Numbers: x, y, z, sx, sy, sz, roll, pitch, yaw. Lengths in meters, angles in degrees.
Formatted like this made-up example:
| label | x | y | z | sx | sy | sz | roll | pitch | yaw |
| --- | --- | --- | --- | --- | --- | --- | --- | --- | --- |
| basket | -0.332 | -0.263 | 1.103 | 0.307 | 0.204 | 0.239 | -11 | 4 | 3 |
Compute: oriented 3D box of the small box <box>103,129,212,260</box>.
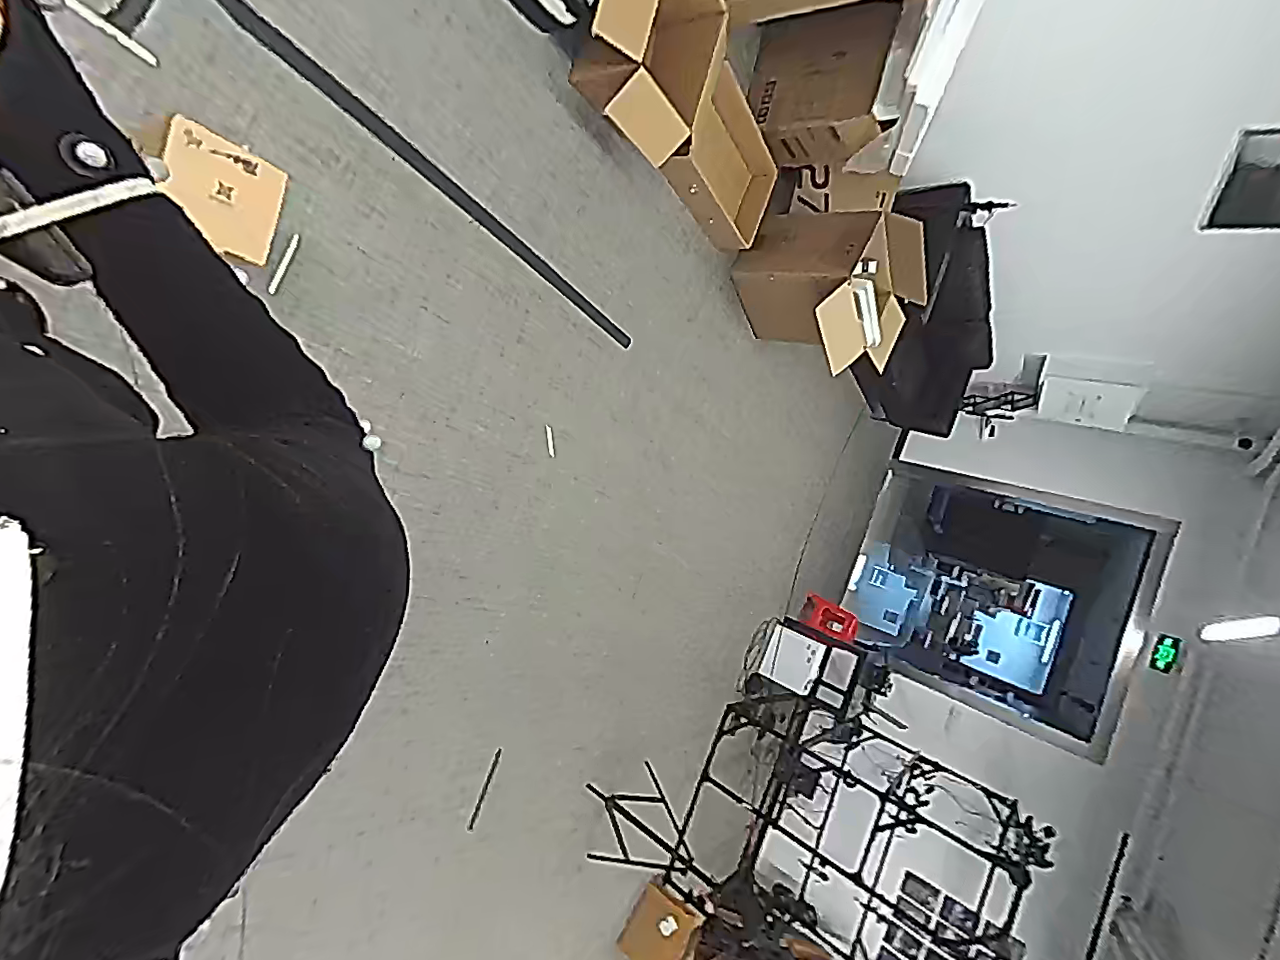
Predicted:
| label | x | y | z | sx | sy | sz | roll | pitch | yaw |
| --- | --- | --- | --- | --- | --- | --- | --- | --- | --- |
| small box | -0.894 | -0.544 | 1.053 | 0.179 | 0.176 | 0.168 | 17 | 91 | -54 |

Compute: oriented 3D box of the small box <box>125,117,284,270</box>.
| label | x | y | z | sx | sy | sz | roll | pitch | yaw |
| --- | --- | --- | --- | --- | --- | --- | --- | --- | --- |
| small box | -0.772 | -0.494 | 0.956 | 0.168 | 0.176 | 0.179 | 14 | 94 | -55 |
